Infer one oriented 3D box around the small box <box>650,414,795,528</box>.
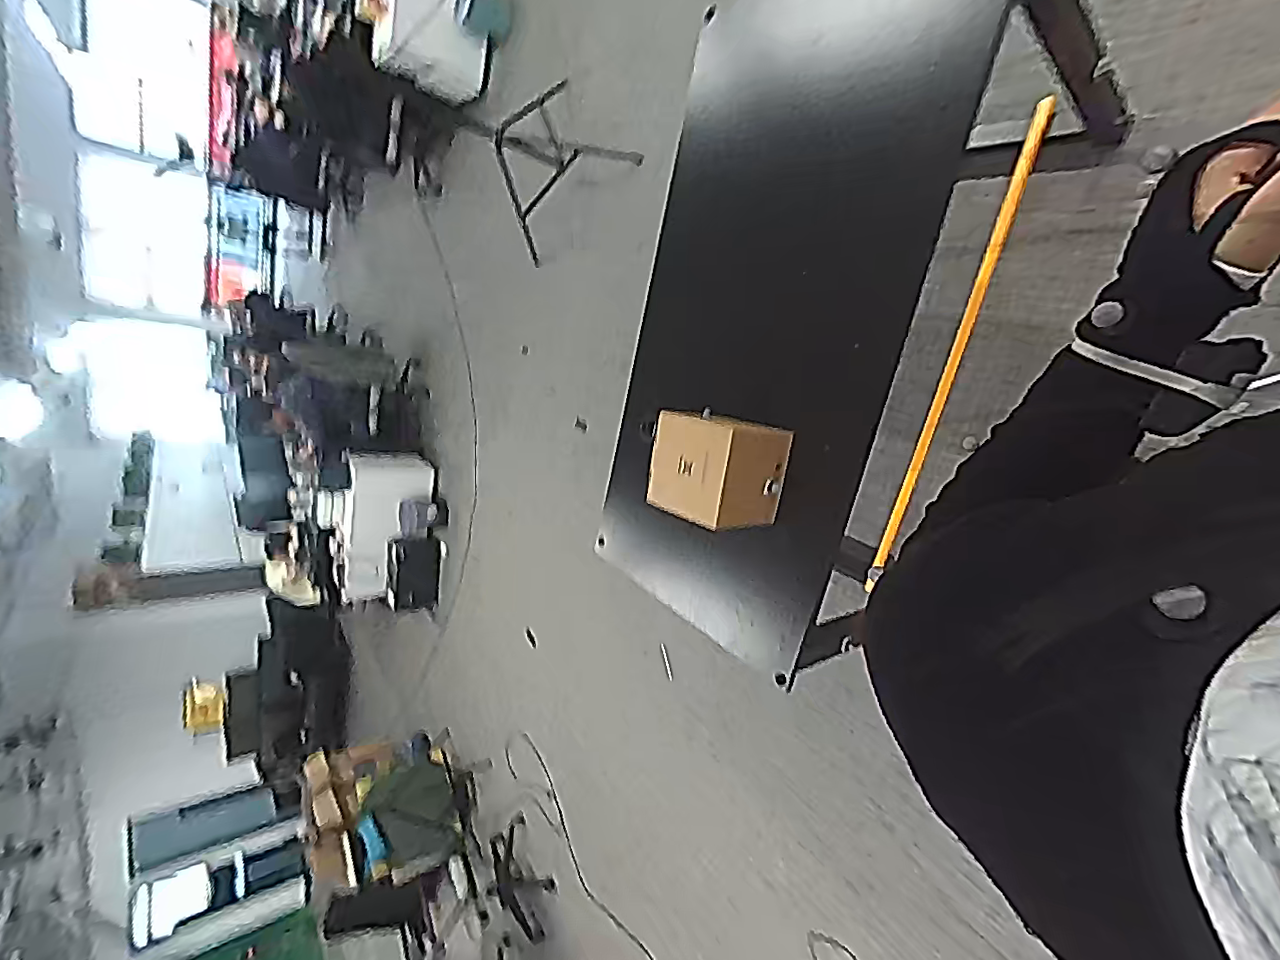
[{"bbox_3d":[0.145,-0.021,0.965,0.179,0.176,0.168,19,106,47],"label":"small box"}]
